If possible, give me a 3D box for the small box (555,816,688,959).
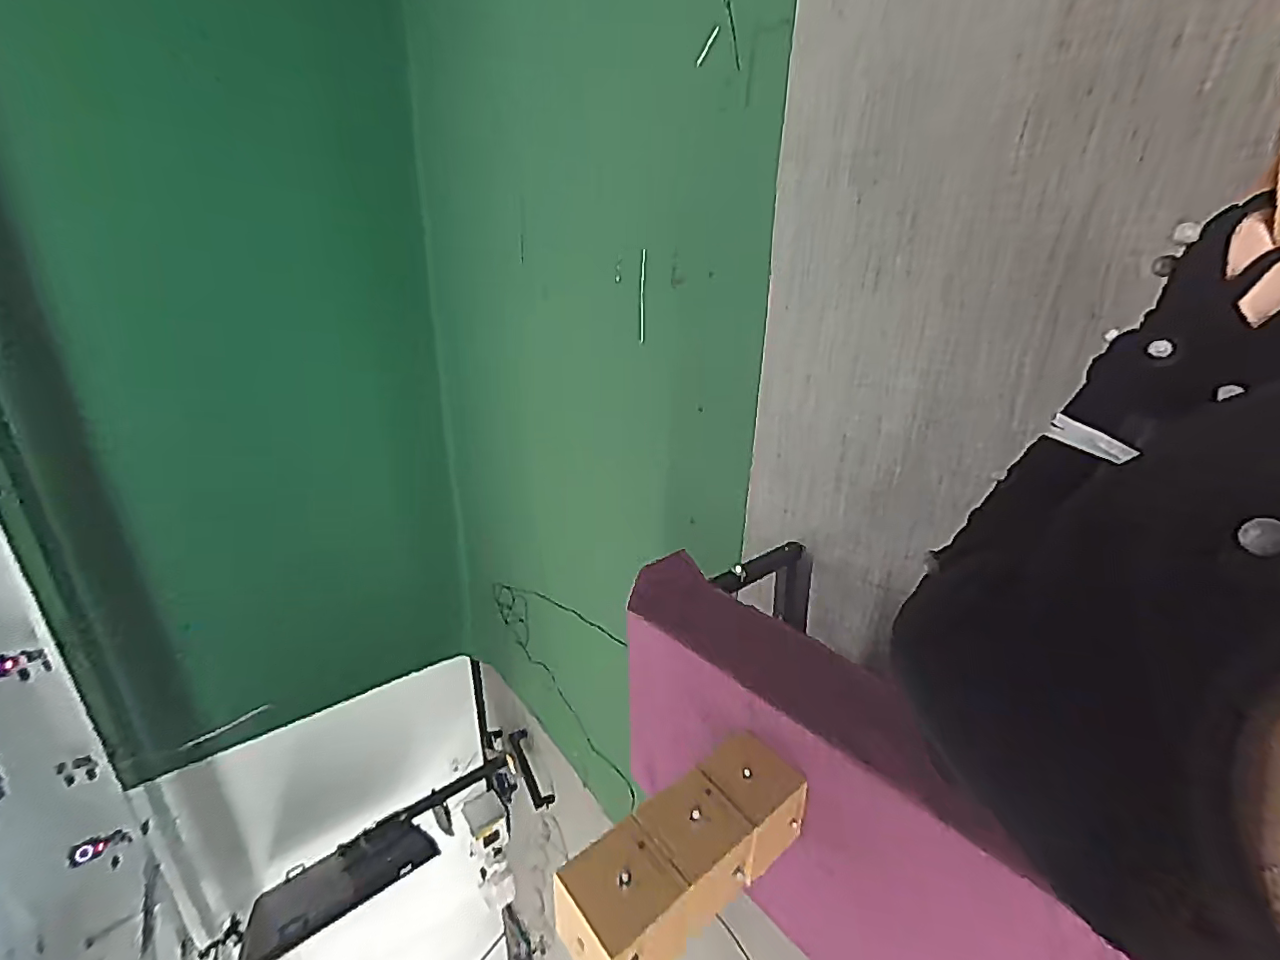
[{"bbox_3d":[-0.031,0.739,0.940,0.168,0.176,0.179,26,123,45],"label":"small box"}]

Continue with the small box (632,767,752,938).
[{"bbox_3d":[0.095,0.702,1.041,0.168,0.176,0.179,28,123,44],"label":"small box"}]
